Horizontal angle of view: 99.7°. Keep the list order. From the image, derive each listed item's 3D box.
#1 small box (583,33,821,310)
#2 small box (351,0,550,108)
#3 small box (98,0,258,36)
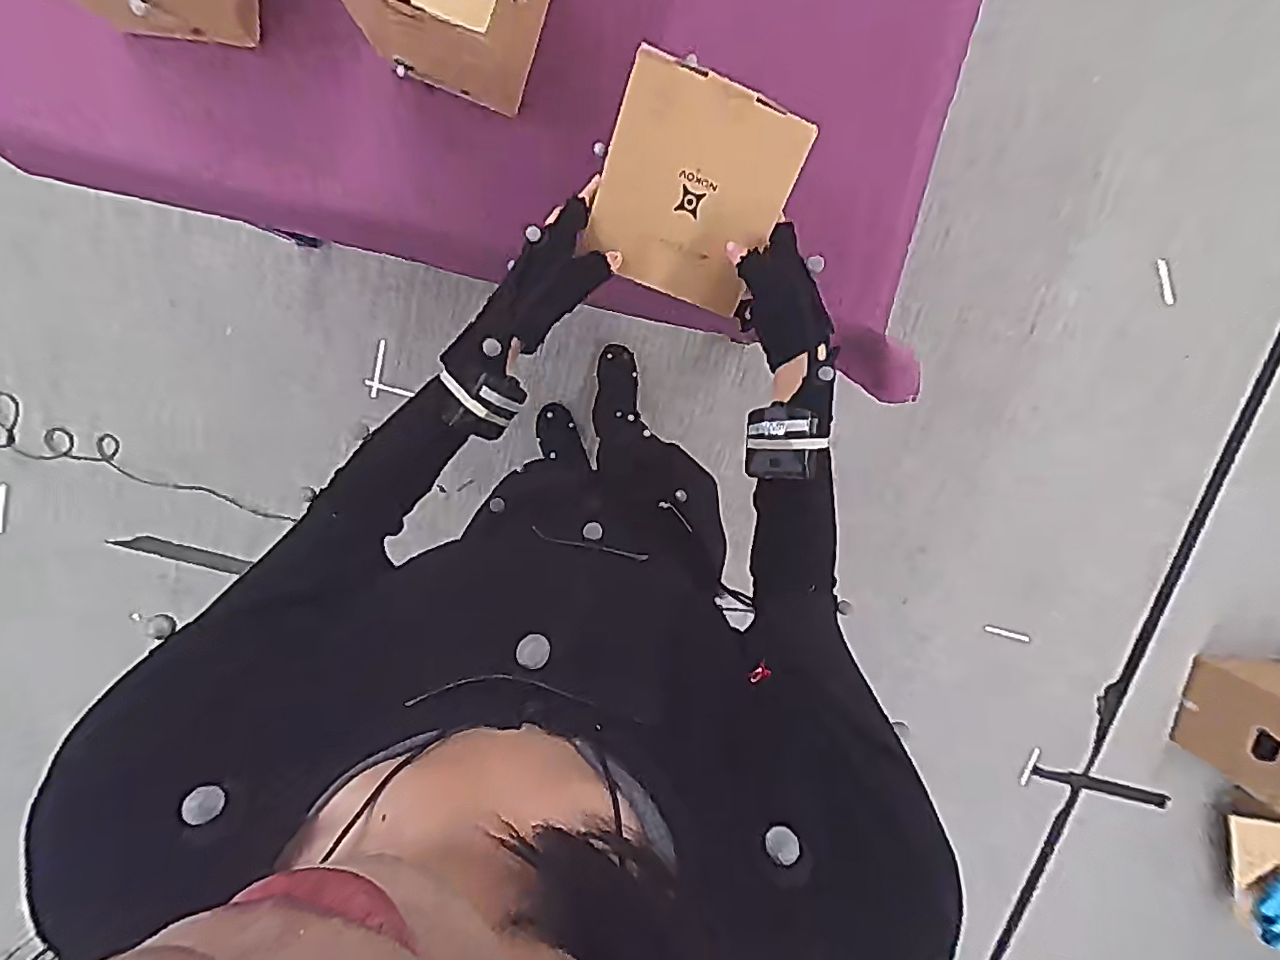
[{"bbox_3d":[0.049,-0.305,0.553,0.168,0.176,0.179,18,121,-11],"label":"small box"},{"bbox_3d":[-0.198,-0.549,0.579,0.168,0.176,0.179,19,98,-7],"label":"small box"},{"bbox_3d":[-0.522,-0.600,0.548,0.168,0.176,0.179,4,101,-5],"label":"small box"}]
